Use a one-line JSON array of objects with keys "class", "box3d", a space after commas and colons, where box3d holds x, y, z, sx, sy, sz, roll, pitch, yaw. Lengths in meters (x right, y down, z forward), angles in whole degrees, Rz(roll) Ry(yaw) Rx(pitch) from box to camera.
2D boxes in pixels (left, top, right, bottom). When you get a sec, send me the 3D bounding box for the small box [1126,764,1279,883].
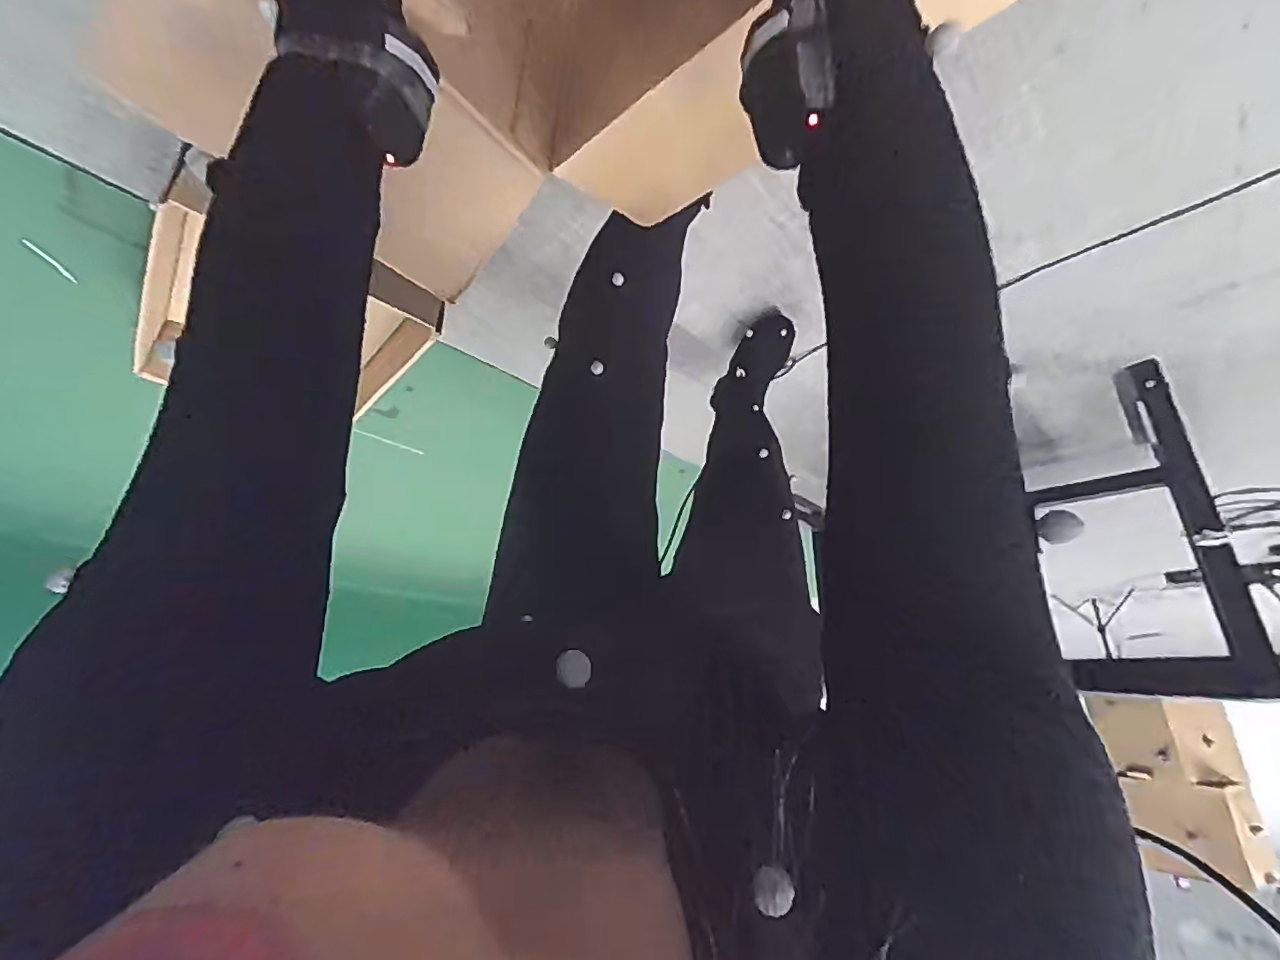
[{"class": "small box", "box3d": [1.146, 0.683, 1.095, 0.168, 0.176, 0.179, 14, 154, -28]}]
